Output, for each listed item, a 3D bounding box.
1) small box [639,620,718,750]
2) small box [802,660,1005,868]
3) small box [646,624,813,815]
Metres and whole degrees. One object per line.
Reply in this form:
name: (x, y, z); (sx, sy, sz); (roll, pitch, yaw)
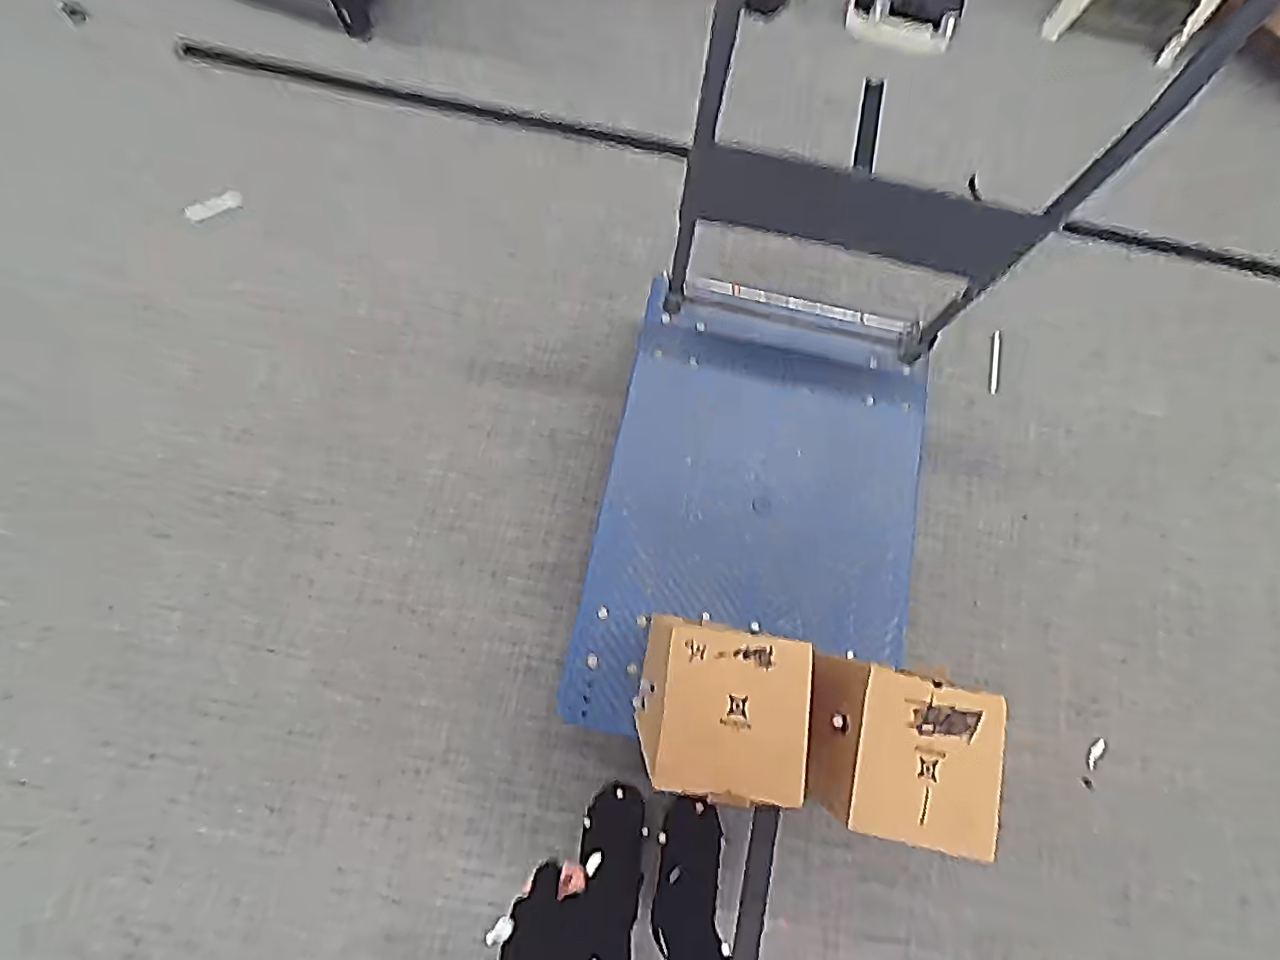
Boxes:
small box: (0.094, 0.322, 0.841); (0.168, 0.176, 0.179); (11, 76, -1)
small box: (0.317, 0.336, 0.680); (0.168, 0.176, 0.179); (15, 77, -1)
small box: (0.102, 0.284, 0.680); (0.168, 0.176, 0.179); (9, 77, -2)
